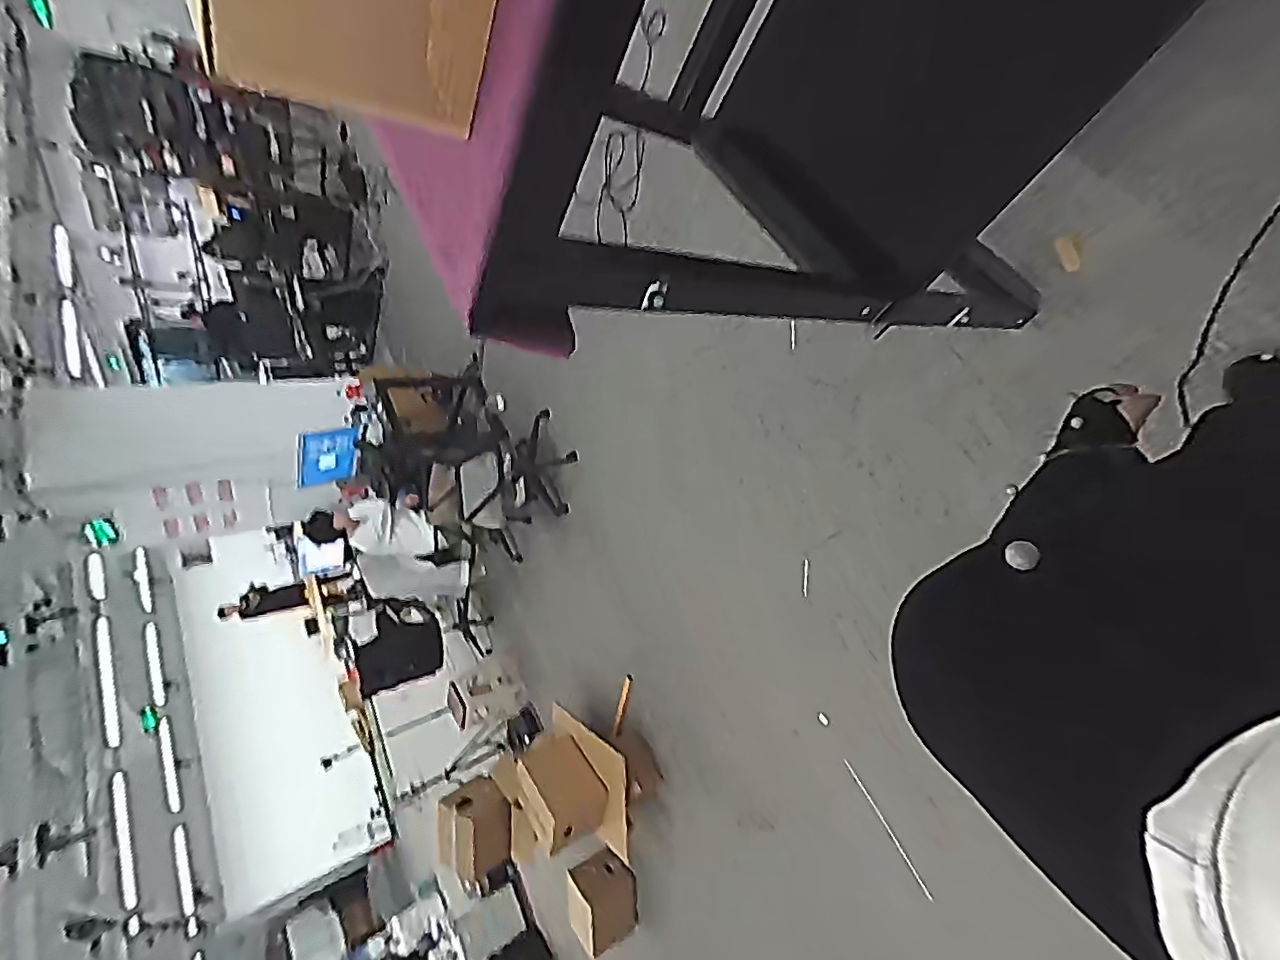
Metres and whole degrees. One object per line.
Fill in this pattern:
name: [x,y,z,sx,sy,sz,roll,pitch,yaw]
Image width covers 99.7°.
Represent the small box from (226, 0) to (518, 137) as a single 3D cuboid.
small box: [-0.191,-0.381,0.381,0.168,0.176,0.179,59,138,26]
